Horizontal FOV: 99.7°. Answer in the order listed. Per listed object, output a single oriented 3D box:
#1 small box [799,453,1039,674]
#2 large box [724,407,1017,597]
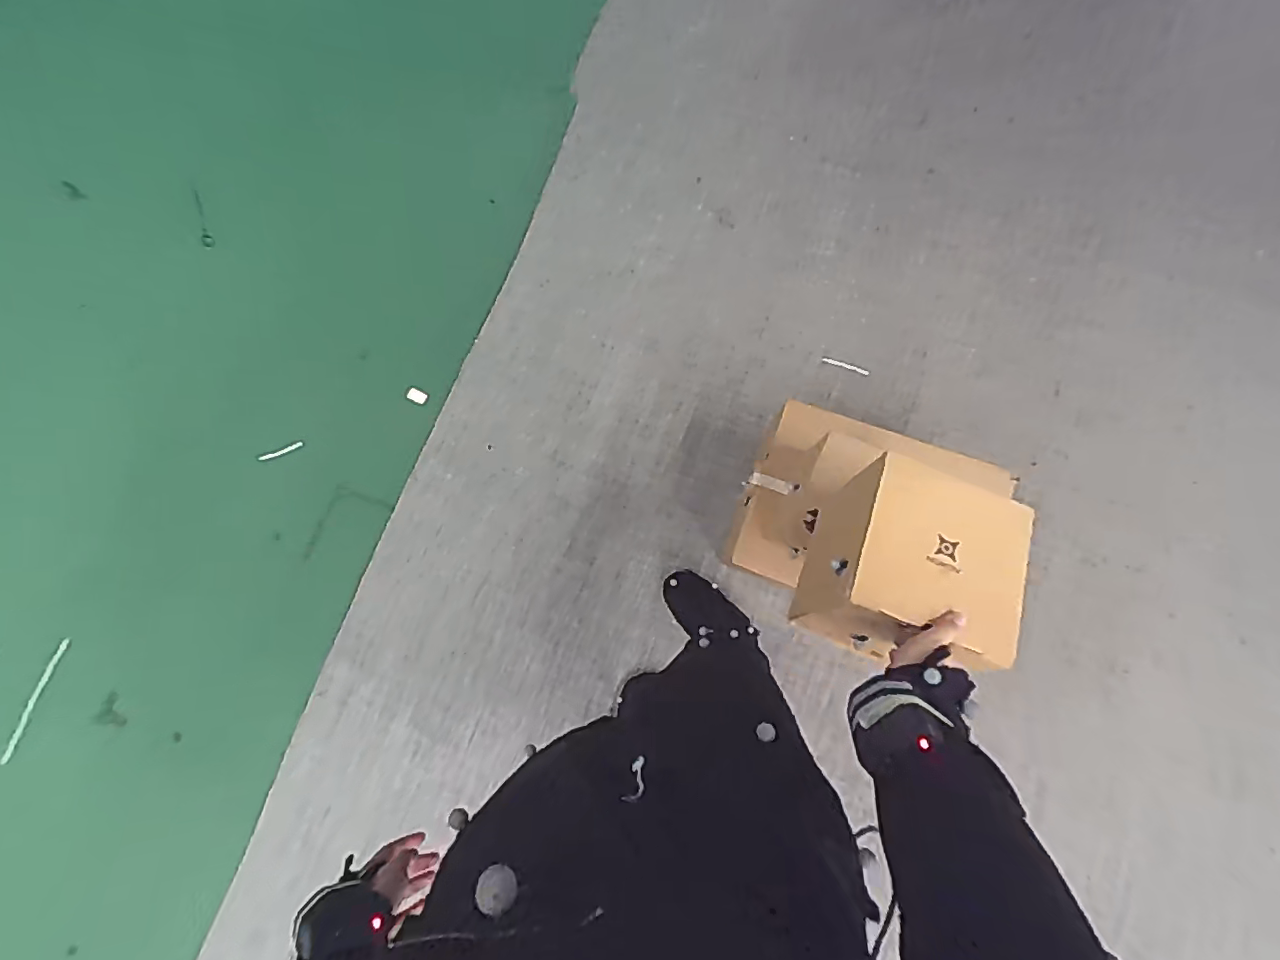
[{"bbox_3d":[0.302,0.103,0.613,0.168,0.176,0.179,24,68,4],"label":"small box"},{"bbox_3d":[0.409,0.095,1.060,0.408,0.320,0.320,20,84,7],"label":"large box"}]
